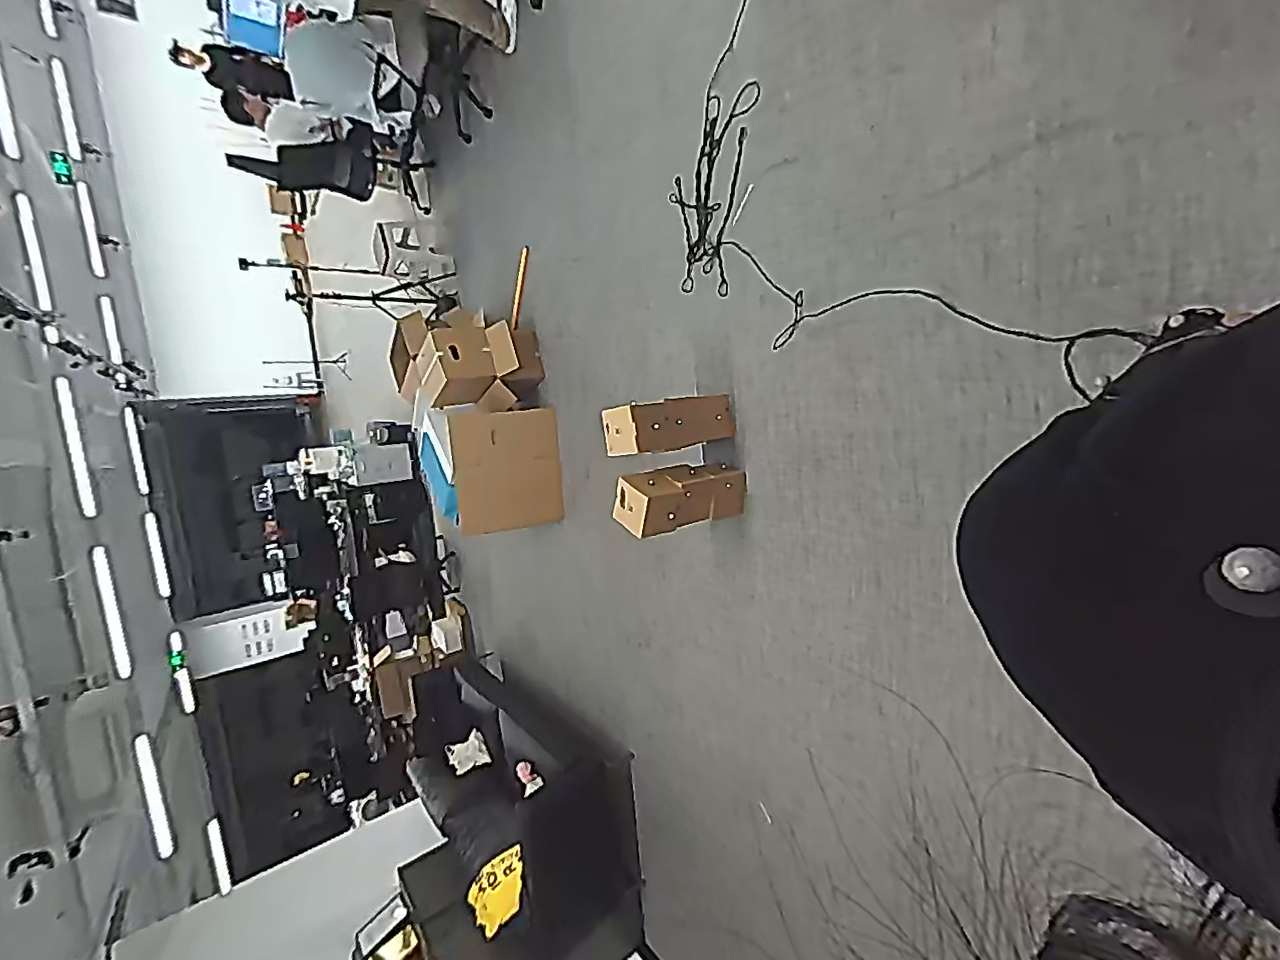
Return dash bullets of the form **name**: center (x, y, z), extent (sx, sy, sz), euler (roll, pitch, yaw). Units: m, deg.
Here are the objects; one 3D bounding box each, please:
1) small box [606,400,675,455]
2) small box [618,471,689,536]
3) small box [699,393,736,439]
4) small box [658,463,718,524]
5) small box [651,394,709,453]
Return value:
- **small box**: center (0.008, -0.185, 1.902), extent (0.179, 0.176, 0.168), euler (-2, 98, 52)
- **small box**: center (0.046, 0.077, 1.923), extent (0.179, 0.176, 0.168), euler (35, 125, 44)
- **small box**: center (0.256, -0.241, 2.106), extent (0.179, 0.176, 0.168), euler (-8, 93, 55)
- **small box**: center (0.173, 0.050, 2.024), extent (0.168, 0.176, 0.179), euler (30, 121, 47)
- **small box**: center (0.135, -0.208, 2.002), extent (0.168, 0.176, 0.179), euler (-15, 87, 53)
